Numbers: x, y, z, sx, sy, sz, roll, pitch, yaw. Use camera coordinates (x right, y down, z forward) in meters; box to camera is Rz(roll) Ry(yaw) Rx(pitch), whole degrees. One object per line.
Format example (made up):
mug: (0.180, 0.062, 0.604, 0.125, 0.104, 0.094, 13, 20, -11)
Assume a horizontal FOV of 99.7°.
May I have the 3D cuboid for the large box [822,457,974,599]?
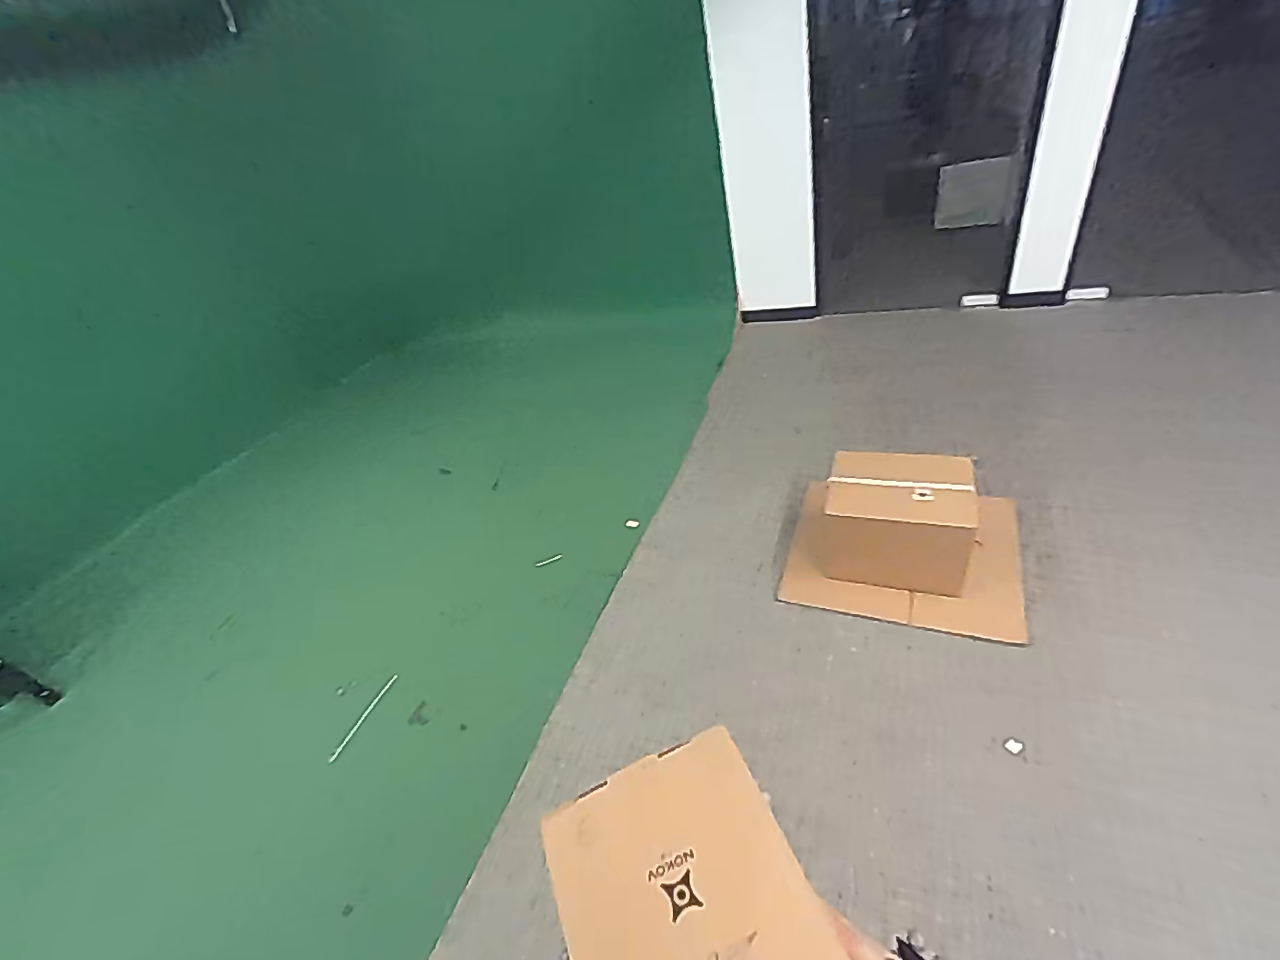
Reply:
large box: (0.815, 0.146, 1.750, 0.408, 0.320, 0.320, 5, 43, 24)
